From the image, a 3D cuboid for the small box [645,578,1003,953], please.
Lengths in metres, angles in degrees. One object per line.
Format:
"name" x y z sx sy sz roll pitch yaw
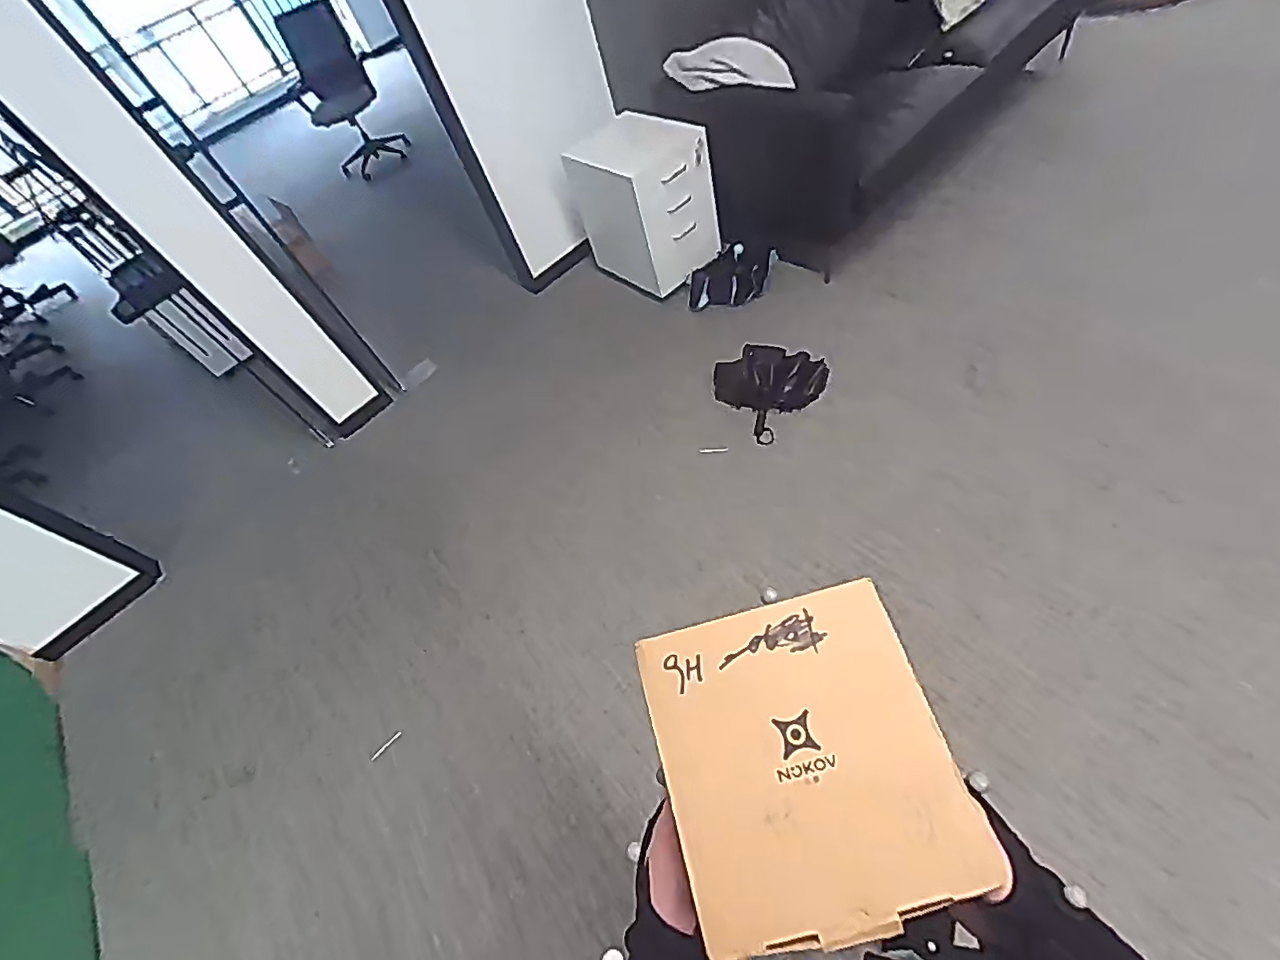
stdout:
"small box" 0.110 0.191 0.398 0.168 0.176 0.179 -15 66 0
